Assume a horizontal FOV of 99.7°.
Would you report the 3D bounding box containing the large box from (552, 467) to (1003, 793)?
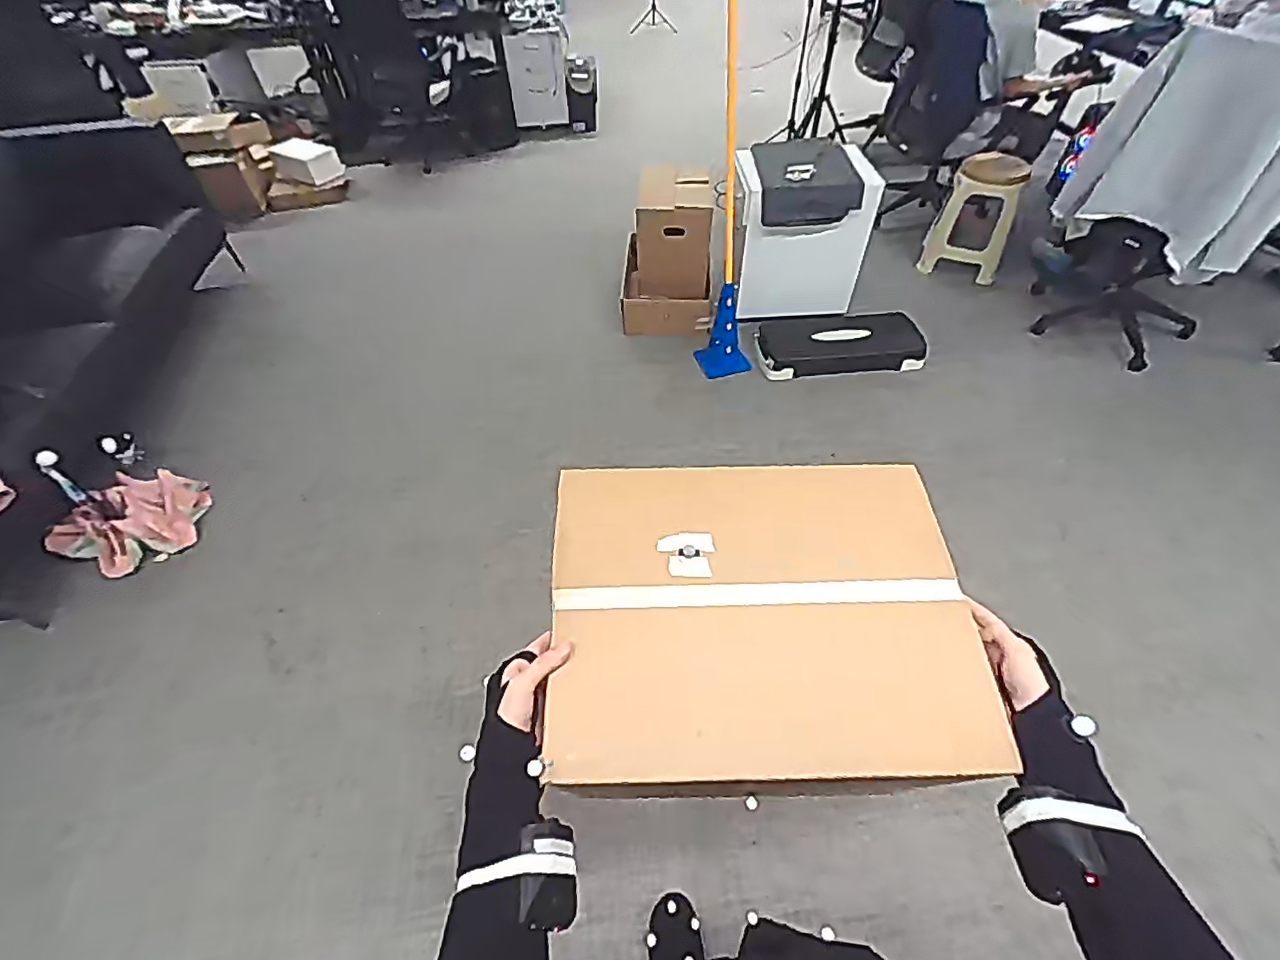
[{"bbox_3d":[0.121,0.202,0.674,0.408,0.320,0.320,-2,57,0],"label":"large box"}]
